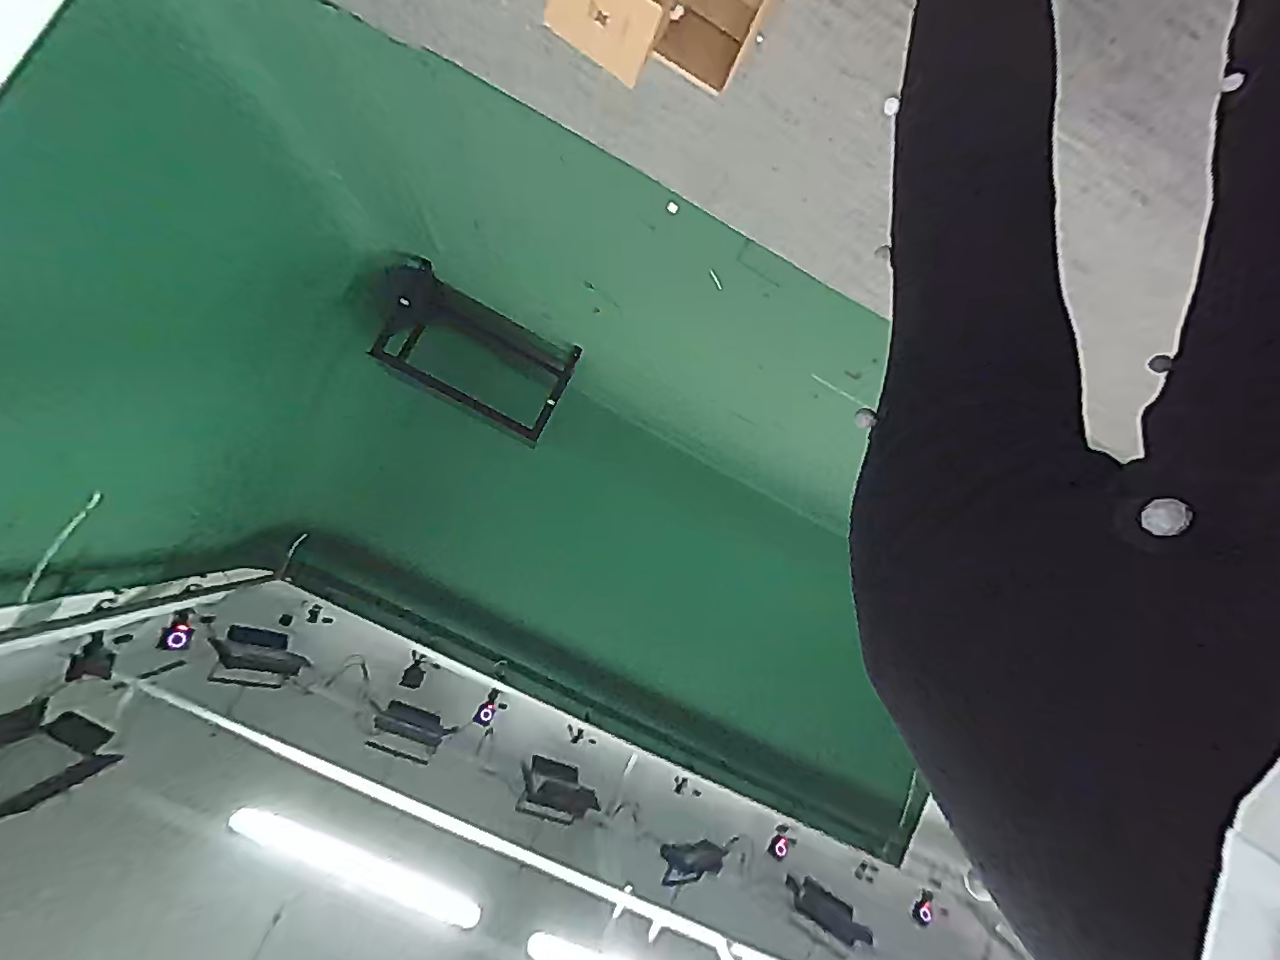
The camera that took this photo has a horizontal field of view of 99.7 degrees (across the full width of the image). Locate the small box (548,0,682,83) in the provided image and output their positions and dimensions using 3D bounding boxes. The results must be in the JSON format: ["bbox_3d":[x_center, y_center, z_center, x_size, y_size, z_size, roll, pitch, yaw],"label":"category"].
[{"bbox_3d":[-0.021,-0.802,0.855,0.179,0.176,0.168,28,170,-15],"label":"small box"}]

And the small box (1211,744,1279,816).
[{"bbox_3d":[1.987,0.950,1.708,0.179,0.176,0.168,30,170,-7],"label":"small box"}]
